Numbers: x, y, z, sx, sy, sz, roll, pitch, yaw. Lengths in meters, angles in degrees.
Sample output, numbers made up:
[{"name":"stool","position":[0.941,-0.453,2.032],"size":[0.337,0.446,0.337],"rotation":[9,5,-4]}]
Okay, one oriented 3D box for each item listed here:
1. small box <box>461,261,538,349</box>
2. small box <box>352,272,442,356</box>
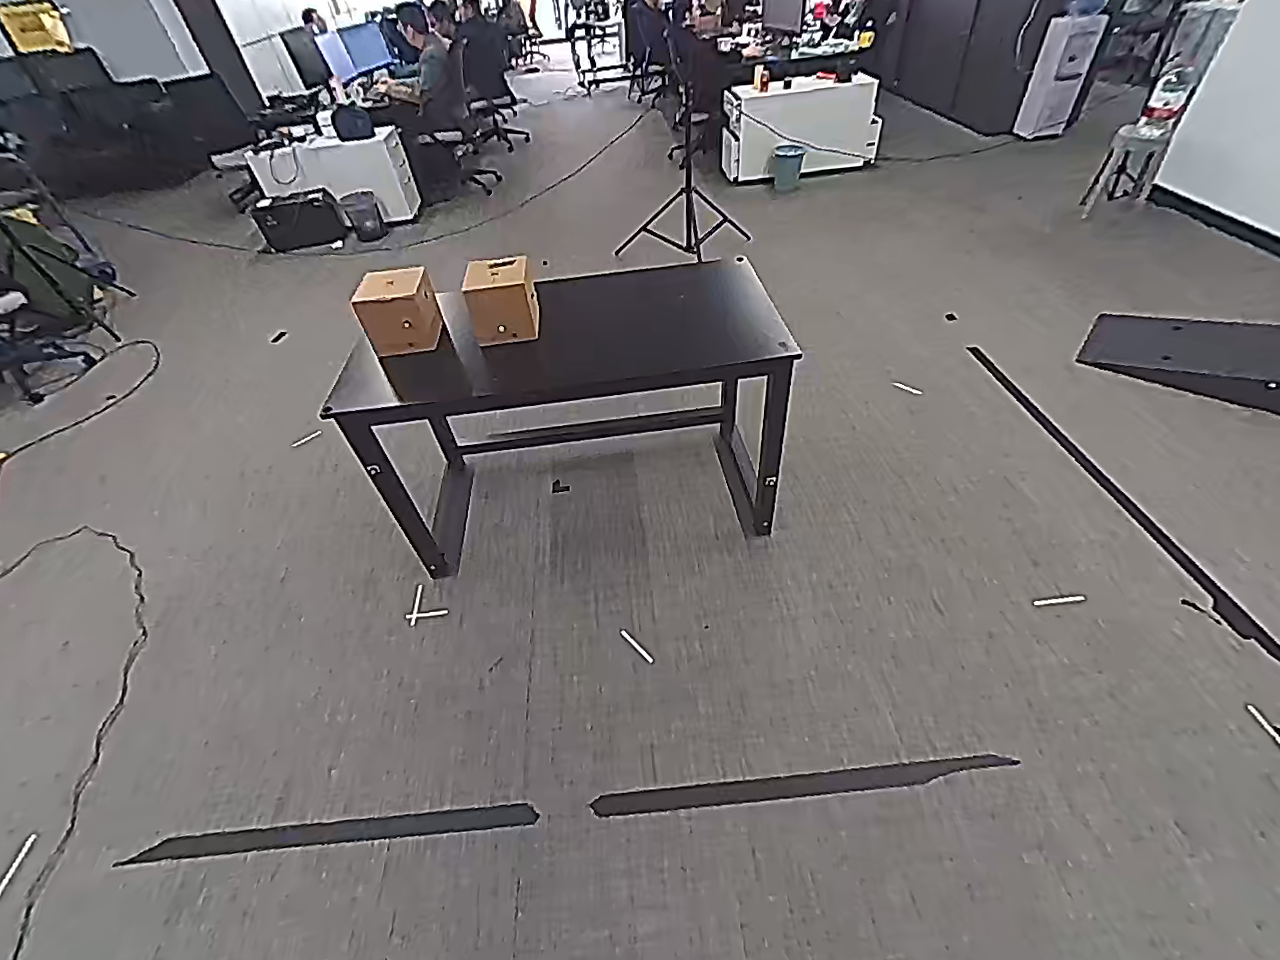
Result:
[{"name":"small box","position":[-0.385,-0.490,1.514],"size":[0.168,0.176,0.179],"rotation":[-8,46,-1]},{"name":"small box","position":[-0.671,-0.460,1.517],"size":[0.168,0.176,0.179],"rotation":[-7,44,-3]}]
